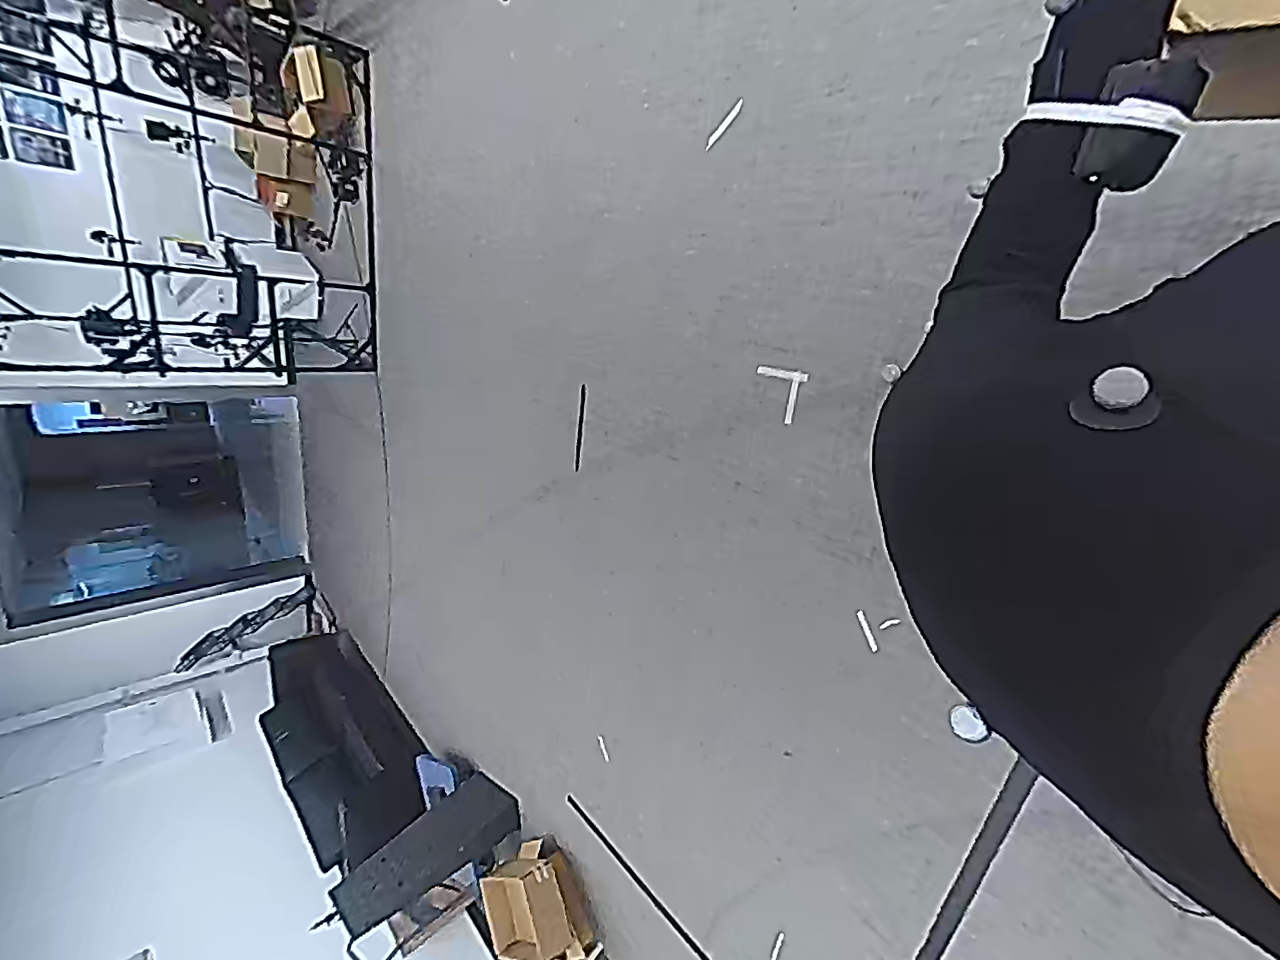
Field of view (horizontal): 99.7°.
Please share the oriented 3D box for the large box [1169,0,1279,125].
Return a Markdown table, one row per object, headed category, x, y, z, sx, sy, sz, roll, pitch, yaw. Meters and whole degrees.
| category | x | y | z | sx | sy | sz | roll | pitch | yaw |
| --- | --- | --- | --- | --- | --- | --- | --- | --- | --- |
| large box | 0.577 | -0.385 | 0.255 | 0.408 | 0.320 | 0.320 | 24 | 123 | 36 |
